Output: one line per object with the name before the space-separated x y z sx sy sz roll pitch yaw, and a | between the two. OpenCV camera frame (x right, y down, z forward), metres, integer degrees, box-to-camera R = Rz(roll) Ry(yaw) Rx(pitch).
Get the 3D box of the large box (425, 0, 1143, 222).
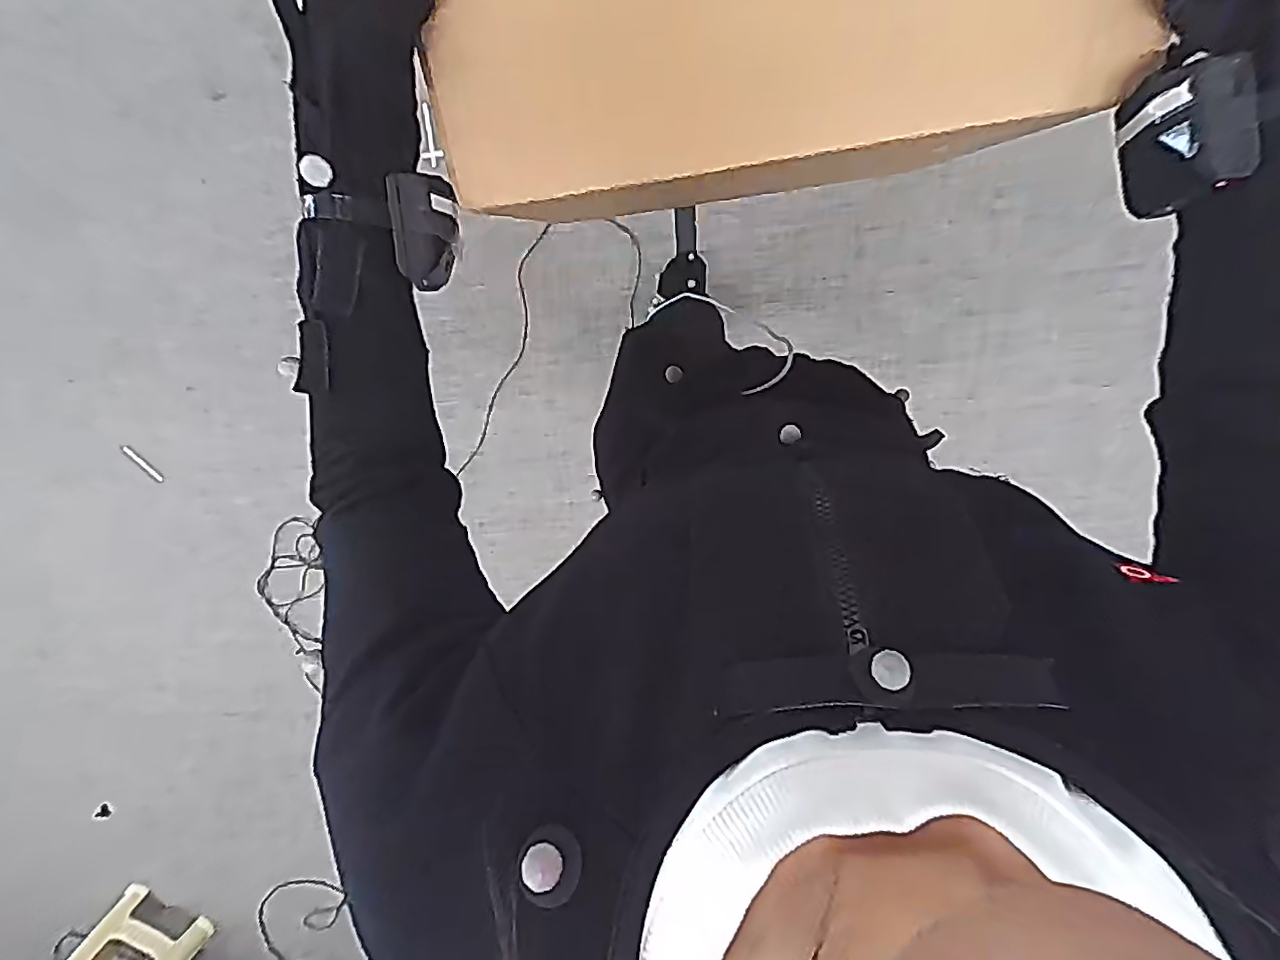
large box | 0.071 -0.402 0.412 0.408 0.320 0.320 -6 114 7
